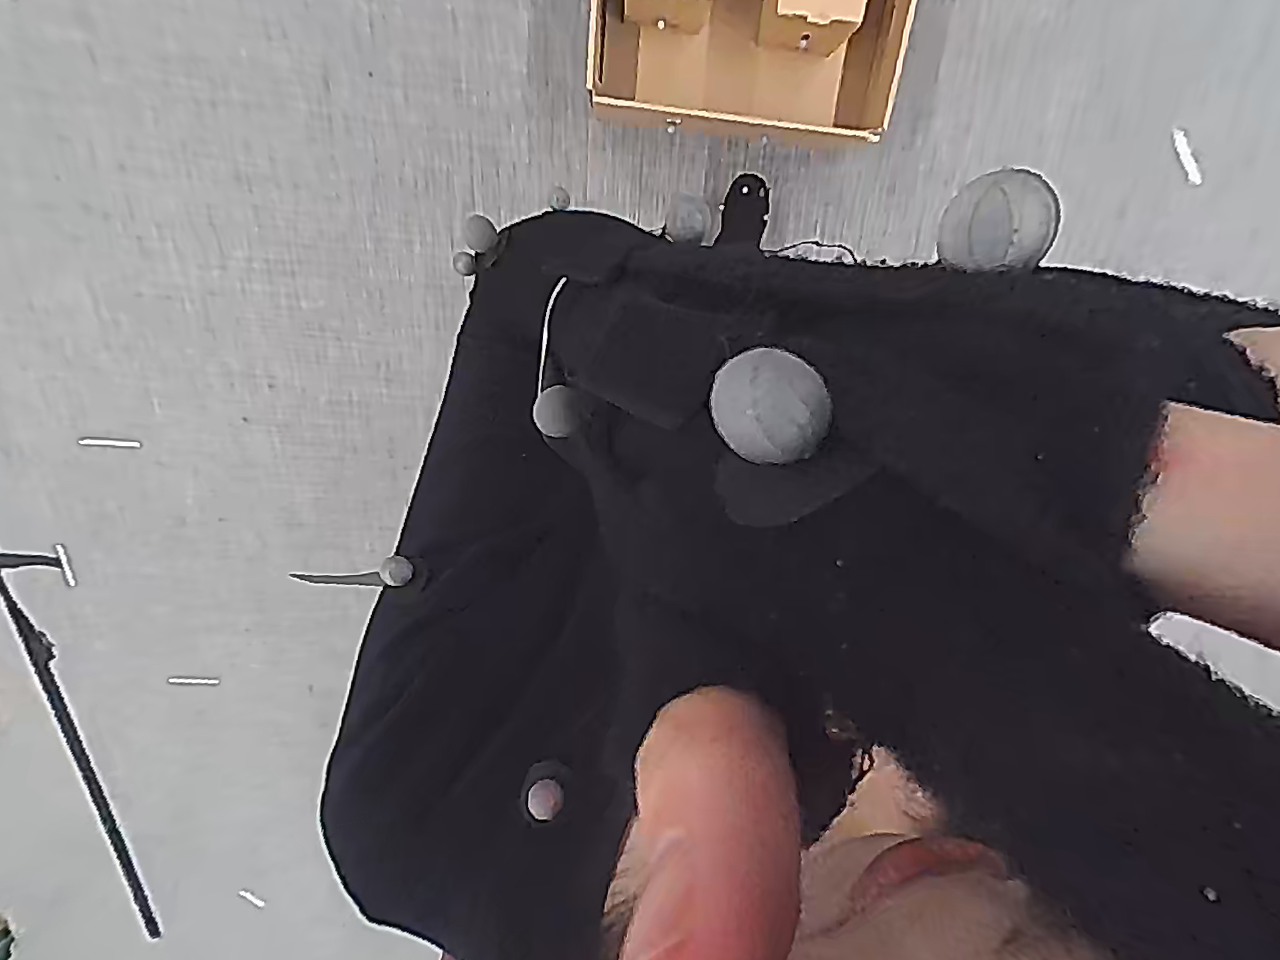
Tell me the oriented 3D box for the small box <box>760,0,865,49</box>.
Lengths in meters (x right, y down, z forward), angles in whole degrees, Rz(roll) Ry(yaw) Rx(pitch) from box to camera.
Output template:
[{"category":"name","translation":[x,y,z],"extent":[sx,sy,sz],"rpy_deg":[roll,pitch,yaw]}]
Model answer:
[{"category":"small box","translation":[0.342,-0.975,1.050],"extent":[0.168,0.176,0.179],"rpy_deg":[5,113,-4]}]
